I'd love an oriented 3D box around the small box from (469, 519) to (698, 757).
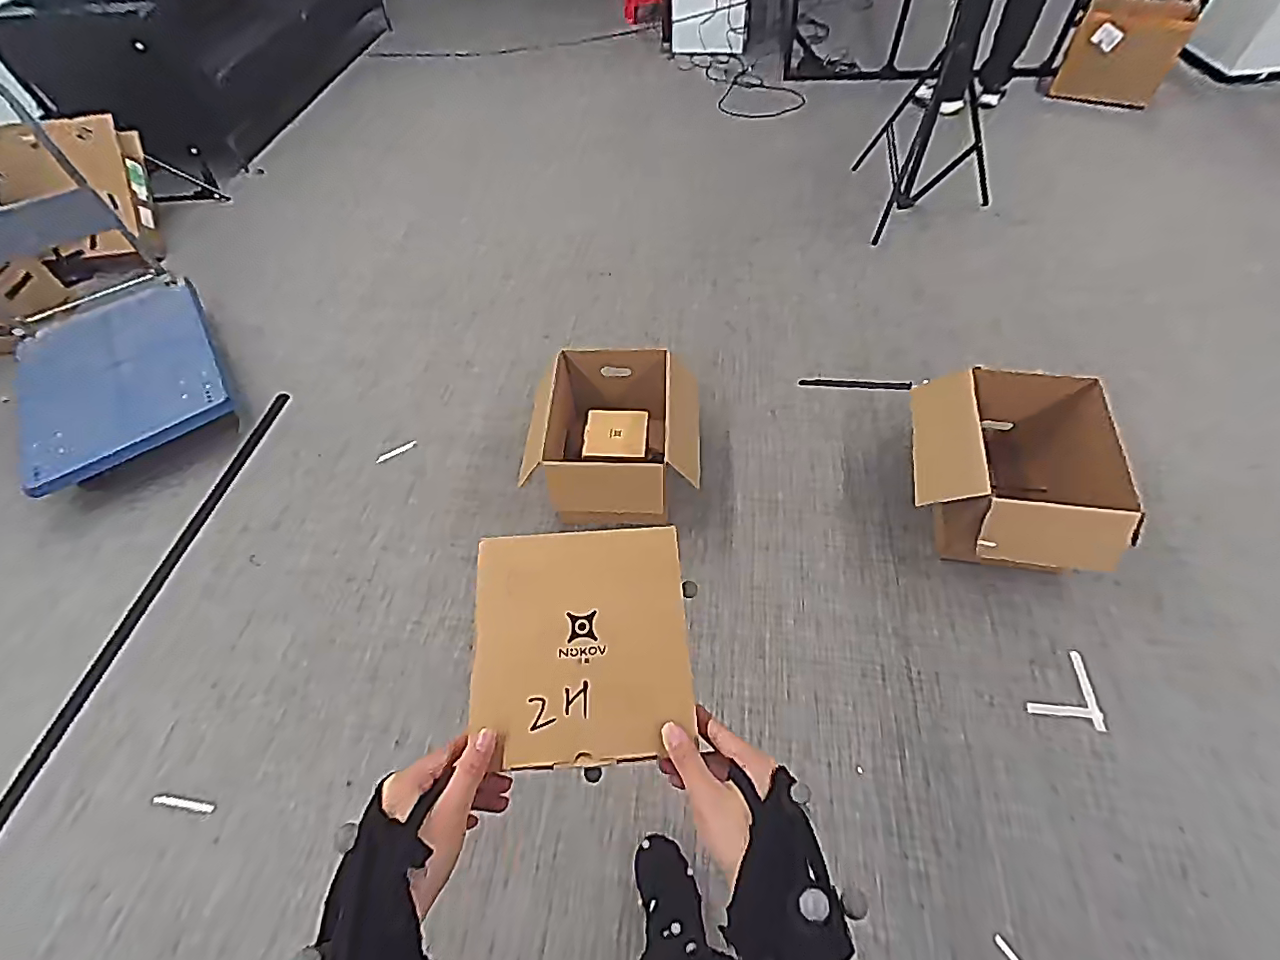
[{"bbox_3d":[-0.046,0.150,0.491,0.168,0.176,0.179,-3,64,-3],"label":"small box"}]
